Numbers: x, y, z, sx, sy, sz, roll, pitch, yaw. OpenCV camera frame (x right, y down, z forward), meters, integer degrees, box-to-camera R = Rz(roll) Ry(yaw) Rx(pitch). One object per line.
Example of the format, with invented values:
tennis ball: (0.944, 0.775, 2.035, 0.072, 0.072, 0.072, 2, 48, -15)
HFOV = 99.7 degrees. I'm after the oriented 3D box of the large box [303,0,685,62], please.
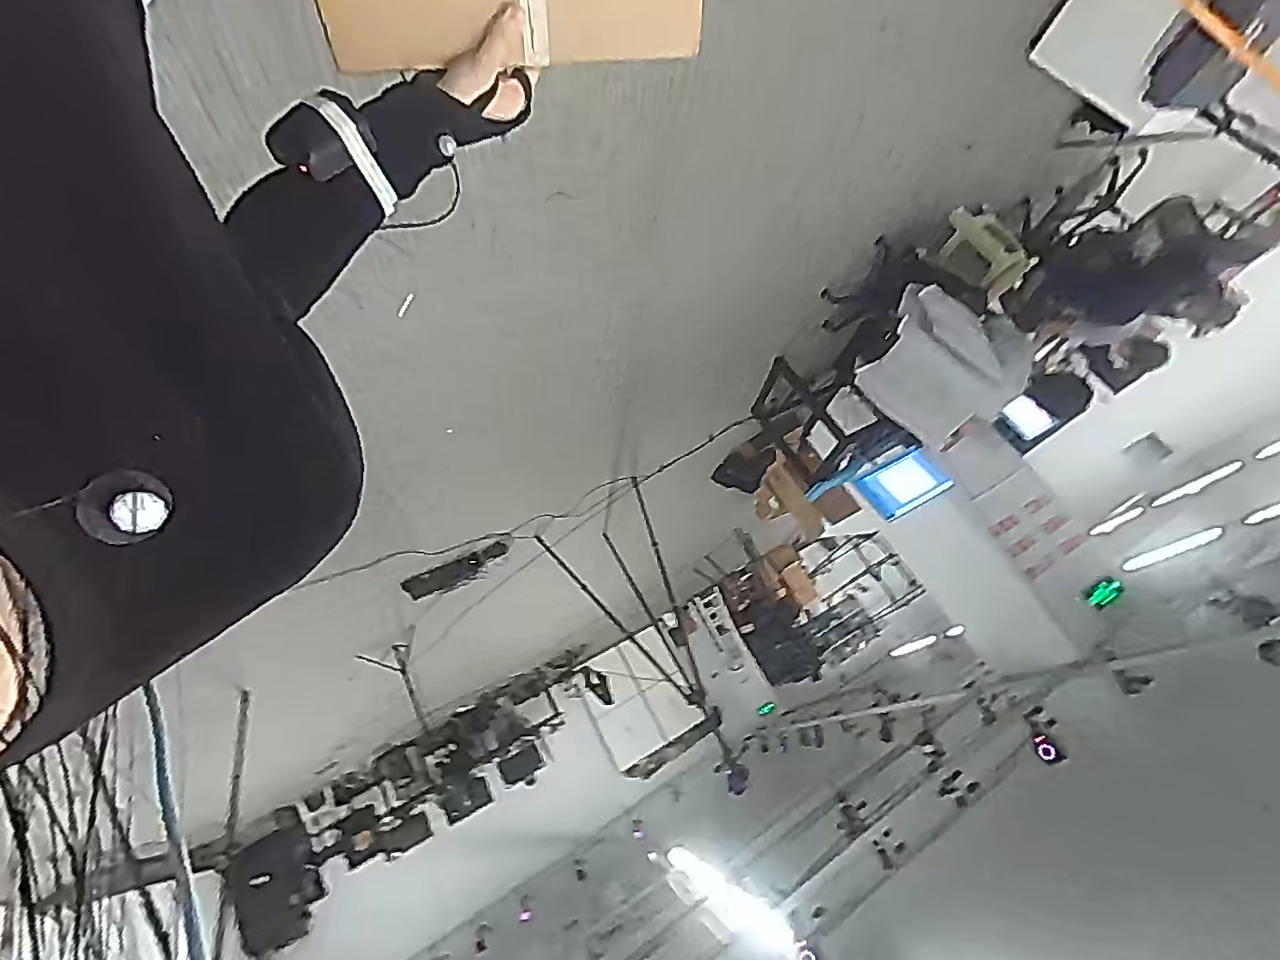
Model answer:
large box: (-0.157, -0.604, 0.428, 0.320, 0.320, 0.408, -15, 135, -16)
